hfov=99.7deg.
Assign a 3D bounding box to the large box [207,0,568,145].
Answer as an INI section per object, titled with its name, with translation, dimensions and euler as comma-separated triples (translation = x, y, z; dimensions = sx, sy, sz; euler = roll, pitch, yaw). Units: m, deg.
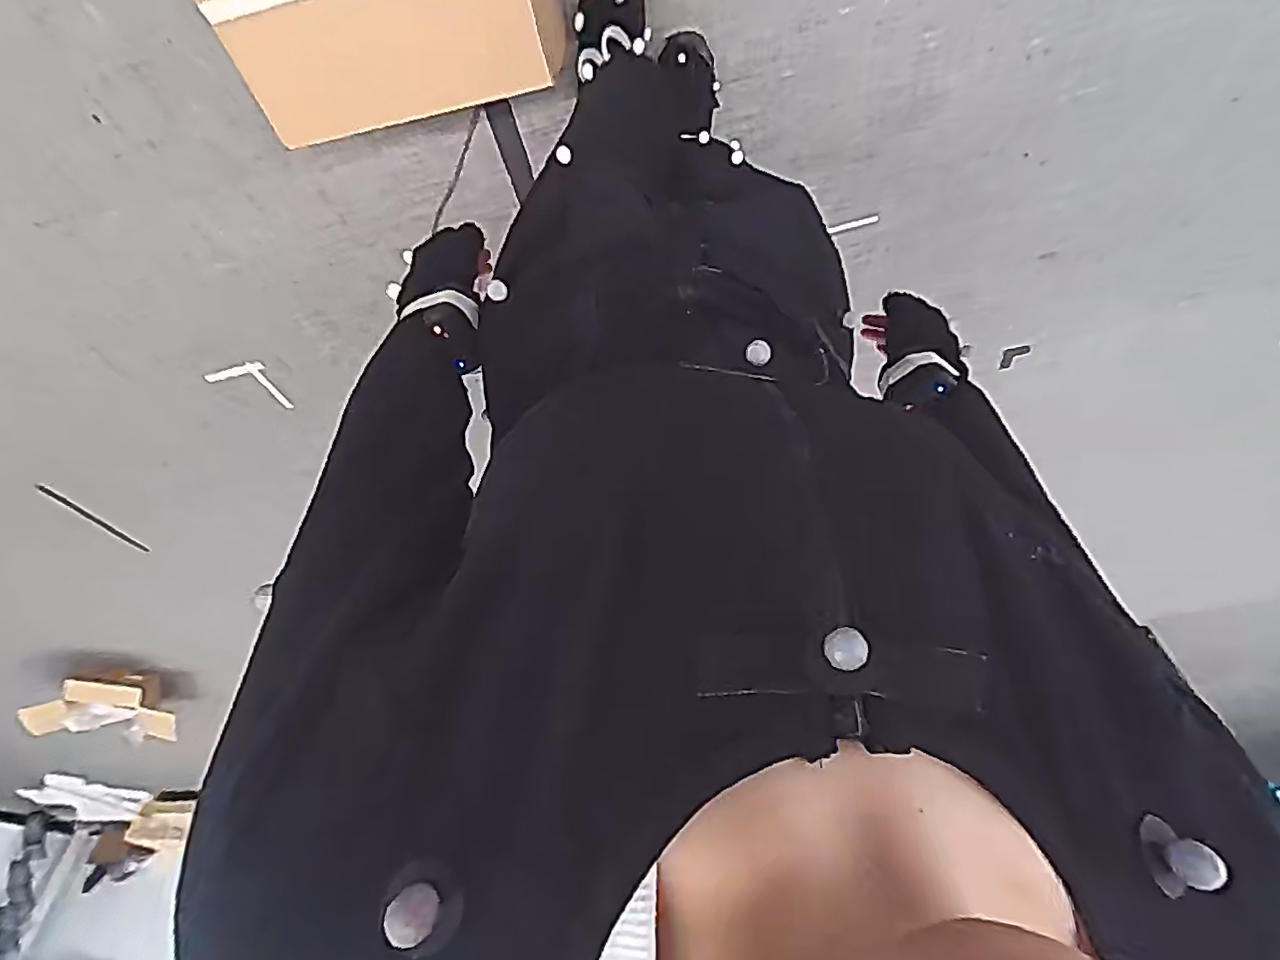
[large box]
translation = -0.342, -0.723, 0.745
dimensions = 0.408, 0.320, 0.320
euler = -8, 139, 7
